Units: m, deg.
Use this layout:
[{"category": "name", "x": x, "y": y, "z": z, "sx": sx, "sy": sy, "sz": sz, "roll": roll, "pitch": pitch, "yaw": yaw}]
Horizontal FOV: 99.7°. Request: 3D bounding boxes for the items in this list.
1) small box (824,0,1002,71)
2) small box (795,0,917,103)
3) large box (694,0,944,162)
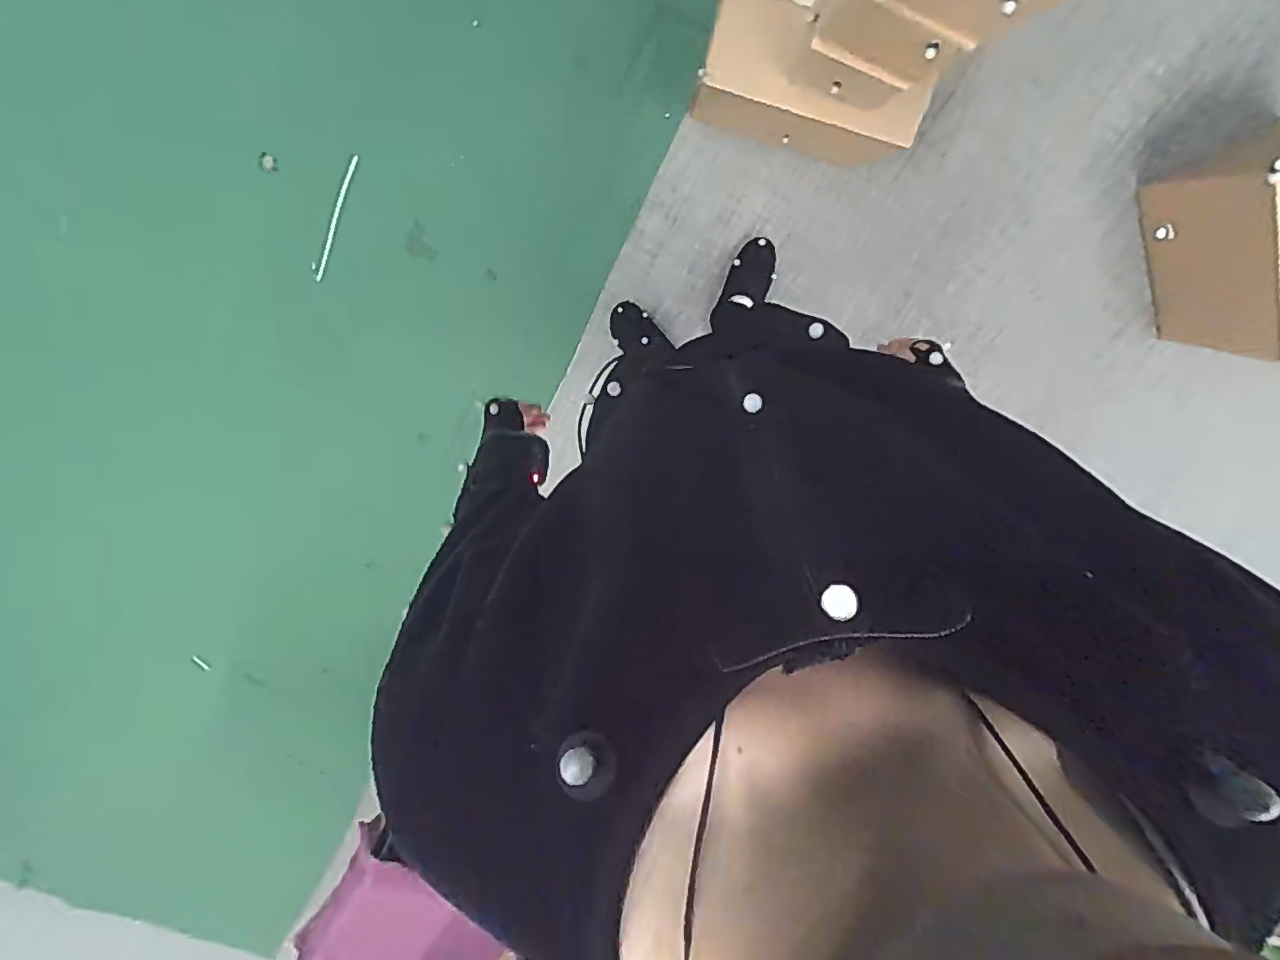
[{"category": "small box", "x": 0.362, "y": -0.659, "z": 0.683, "sx": 0.179, "sy": 0.176, "sz": 0.168, "roll": 20, "pitch": 113, "yaw": -8}, {"category": "small box", "x": 0.358, "y": -0.720, "z": 0.833, "sx": 0.168, "sy": 0.176, "sz": 0.179, "roll": 19, "pitch": 113, "yaw": -8}, {"category": "large box", "x": 0.344, "y": -0.852, "z": 1.044, "sx": 0.408, "sy": 0.320, "sz": 0.320, "roll": 14, "pitch": 112, "yaw": -4}]
